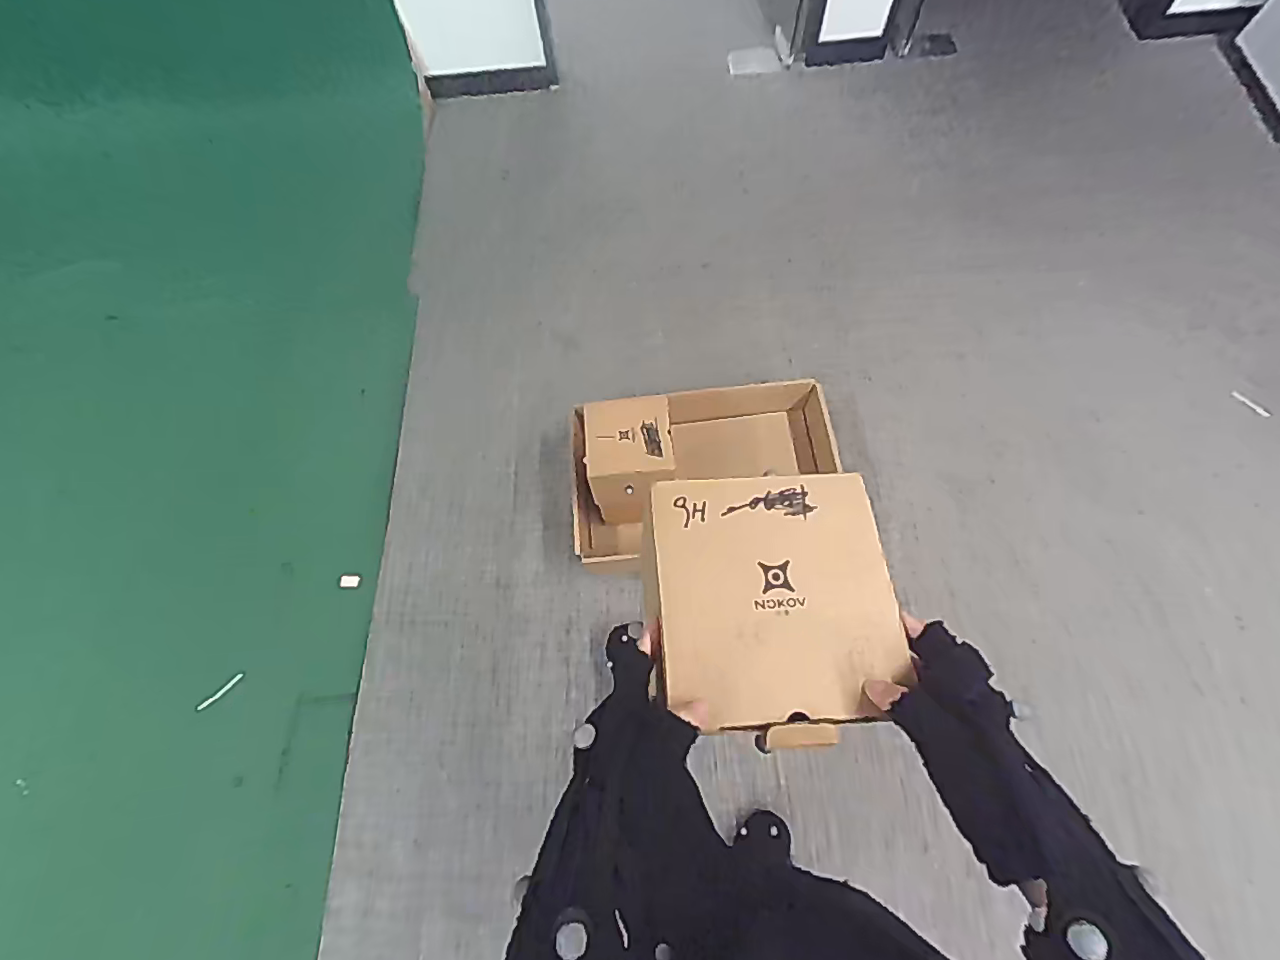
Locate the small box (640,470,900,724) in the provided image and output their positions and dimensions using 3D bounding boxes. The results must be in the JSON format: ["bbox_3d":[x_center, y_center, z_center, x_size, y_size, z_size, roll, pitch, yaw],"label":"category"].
[{"bbox_3d":[0.087,0.107,0.463,0.168,0.176,0.179,-3,66,-3],"label":"small box"}]

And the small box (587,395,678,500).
[{"bbox_3d":[-0.014,-0.064,1.161,0.179,0.176,0.168,-5,68,1],"label":"small box"}]
